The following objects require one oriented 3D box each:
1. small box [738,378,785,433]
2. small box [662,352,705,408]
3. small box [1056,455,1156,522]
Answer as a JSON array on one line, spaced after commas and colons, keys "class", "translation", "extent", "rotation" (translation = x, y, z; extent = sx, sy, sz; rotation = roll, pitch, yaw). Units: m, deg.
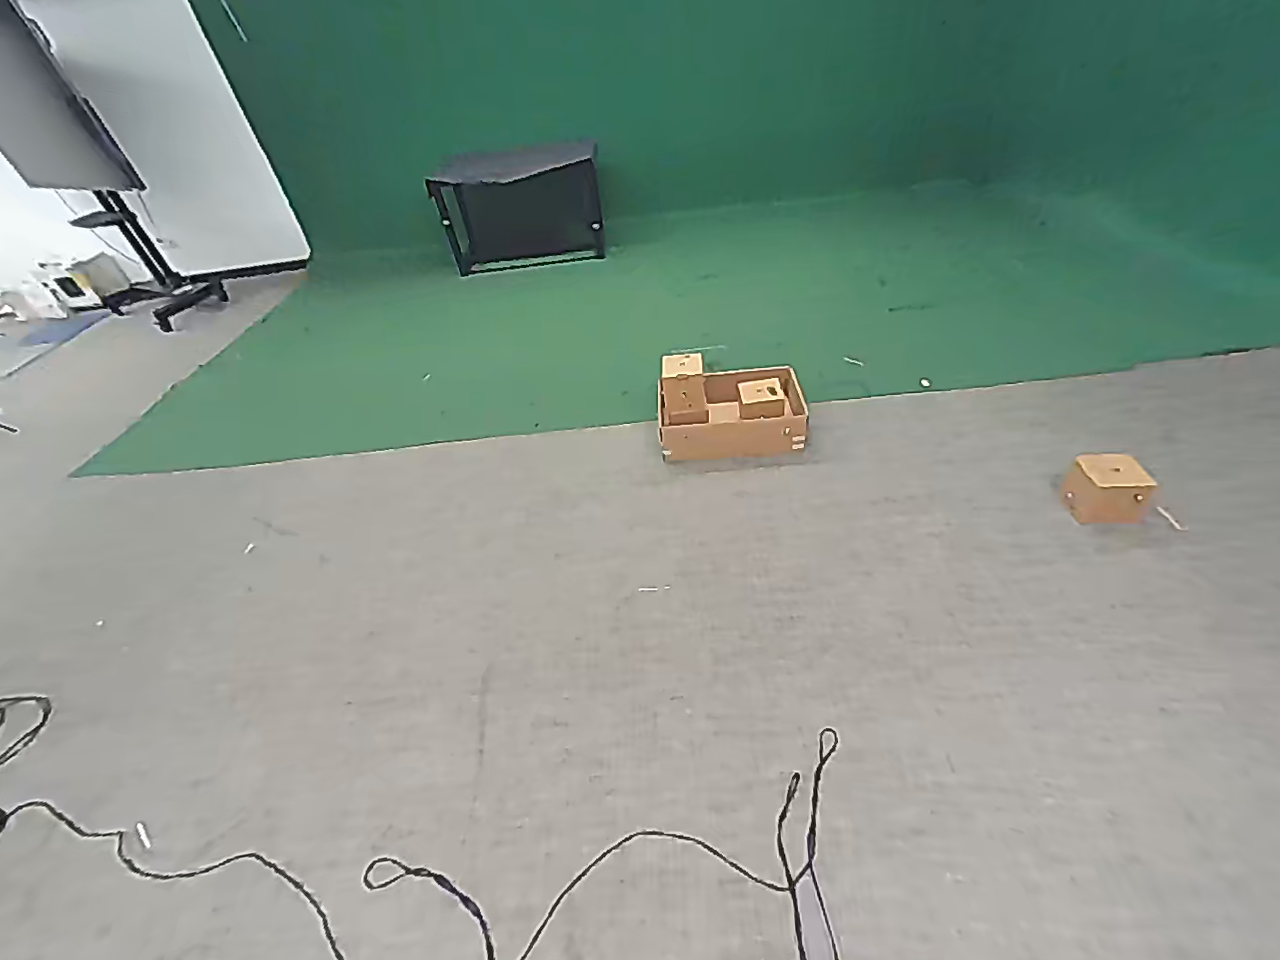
[{"class": "small box", "translation": [0.525, -0.321, 2.354], "extent": [0.179, 0.176, 0.168], "rotation": [-5, 42, 5]}, {"class": "small box", "translation": [0.184, -0.415, 2.271], "extent": [0.168, 0.176, 0.179], "rotation": [-3, 43, 6]}, {"class": "small box", "translation": [1.585, 0.033, 1.853], "extent": [0.179, 0.176, 0.168], "rotation": [-2, 41, 8]}]
